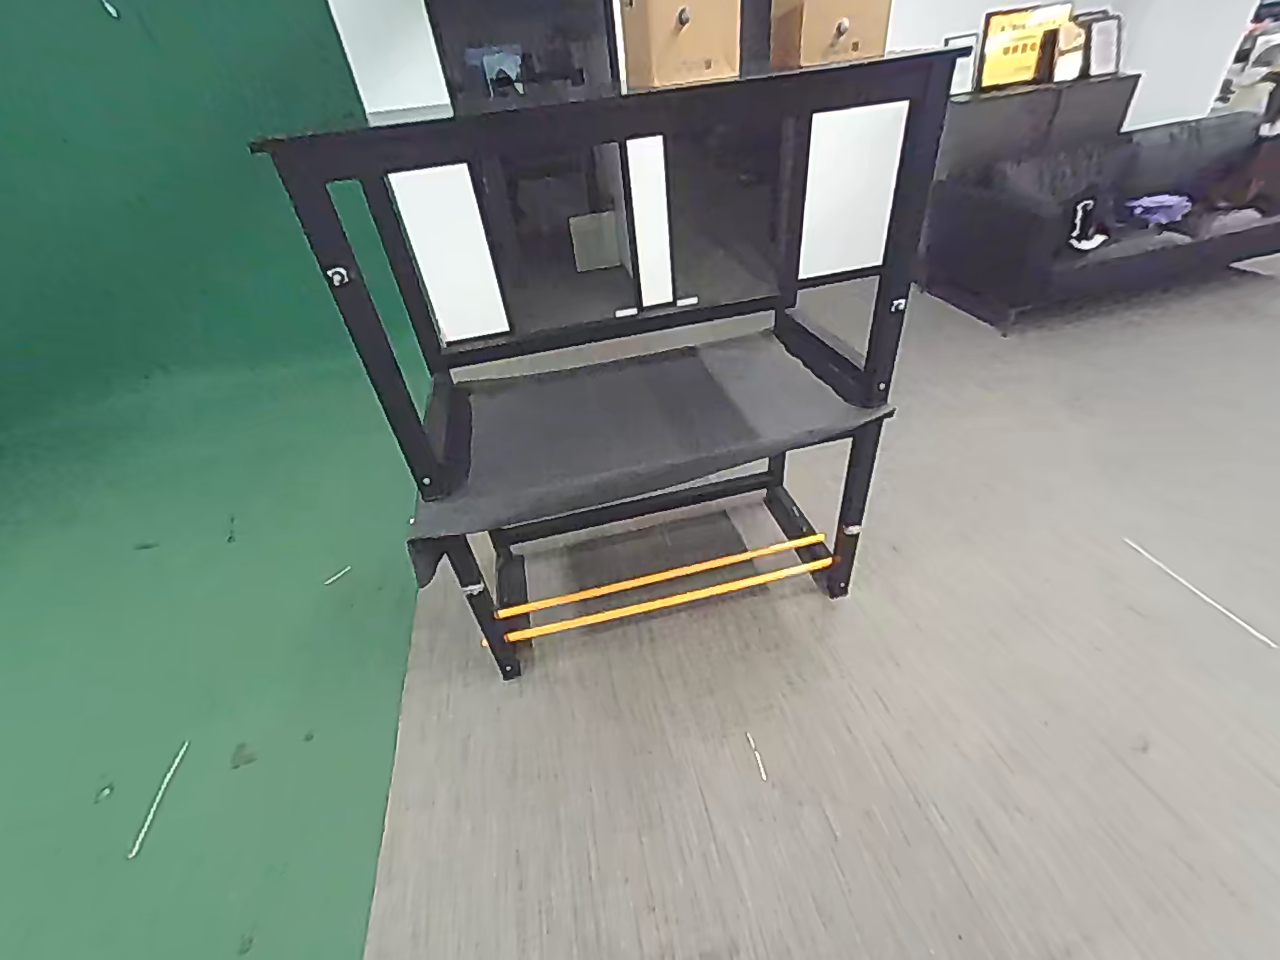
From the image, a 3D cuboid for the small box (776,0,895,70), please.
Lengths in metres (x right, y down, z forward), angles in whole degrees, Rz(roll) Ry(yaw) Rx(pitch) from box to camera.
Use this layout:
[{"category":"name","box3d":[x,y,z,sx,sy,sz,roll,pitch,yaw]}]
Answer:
[{"category":"small box","box3d":[0.361,-0.882,1.015,0.168,0.176,0.179,-9,38,-2]}]

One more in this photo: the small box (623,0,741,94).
[{"category":"small box","box3d":[0.077,-0.815,0.979,0.168,0.176,0.179,-15,37,-10]}]
